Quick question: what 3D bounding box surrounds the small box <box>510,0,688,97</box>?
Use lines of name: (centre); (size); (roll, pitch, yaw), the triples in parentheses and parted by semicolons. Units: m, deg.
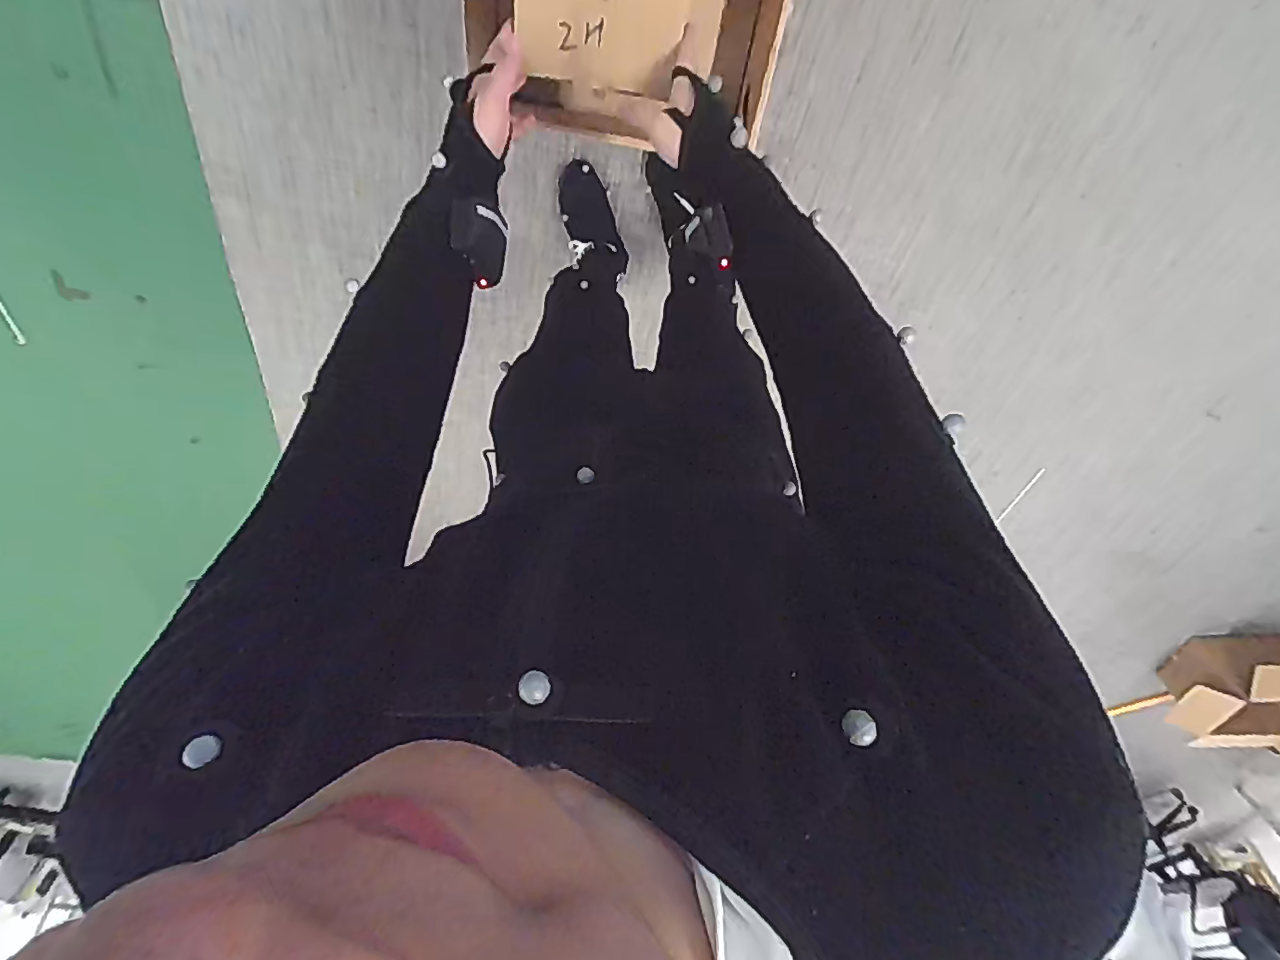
small box: (-0.034, -0.521, 0.555); (0.168, 0.176, 0.179); (8, 129, -5)
